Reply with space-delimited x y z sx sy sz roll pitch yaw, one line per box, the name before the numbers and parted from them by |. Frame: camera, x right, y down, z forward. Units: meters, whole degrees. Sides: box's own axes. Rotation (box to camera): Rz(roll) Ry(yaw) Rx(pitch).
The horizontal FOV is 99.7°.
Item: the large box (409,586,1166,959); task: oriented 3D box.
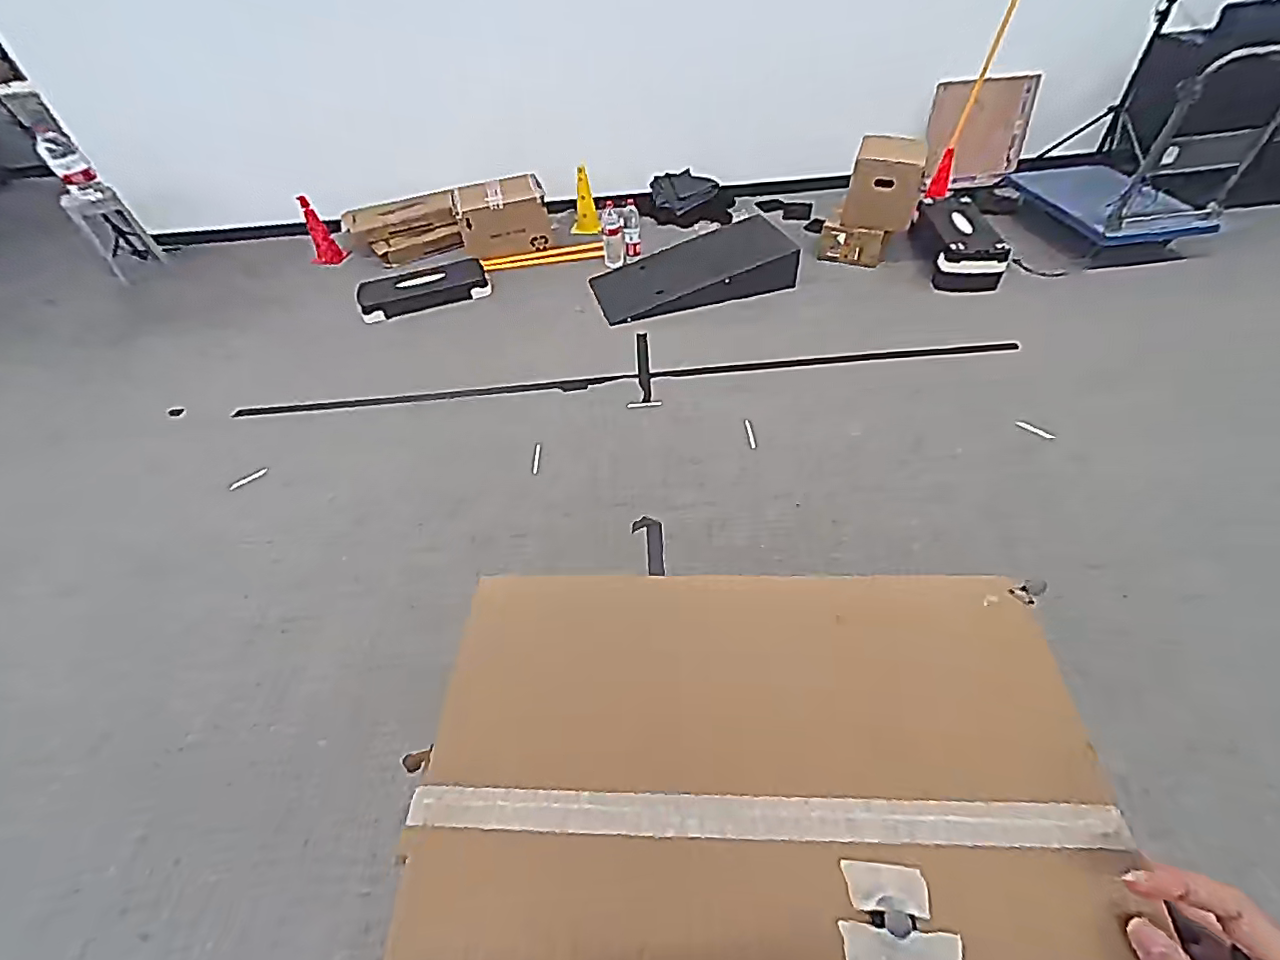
large box | 0.081 0.297 0.441 0.408 0.320 0.320 -1 52 4
